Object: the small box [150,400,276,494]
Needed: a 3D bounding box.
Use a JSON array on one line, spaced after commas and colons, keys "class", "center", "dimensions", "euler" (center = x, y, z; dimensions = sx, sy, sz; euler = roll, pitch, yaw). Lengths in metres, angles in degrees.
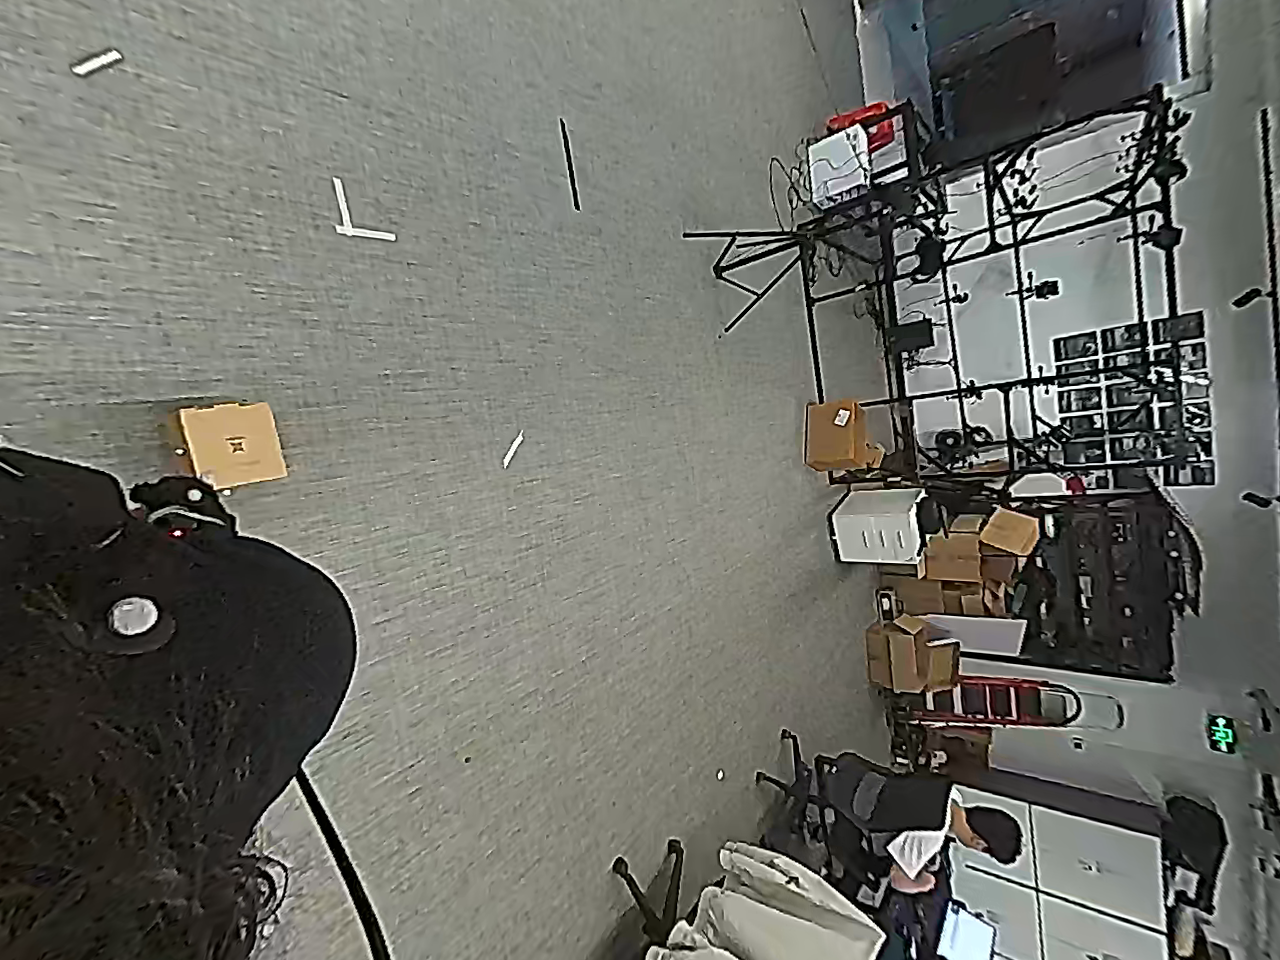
[{"class": "small box", "center": [-0.950, -0.072, 1.201], "dimensions": [0.168, 0.176, 0.179], "euler": [-19, 102, -50]}]
